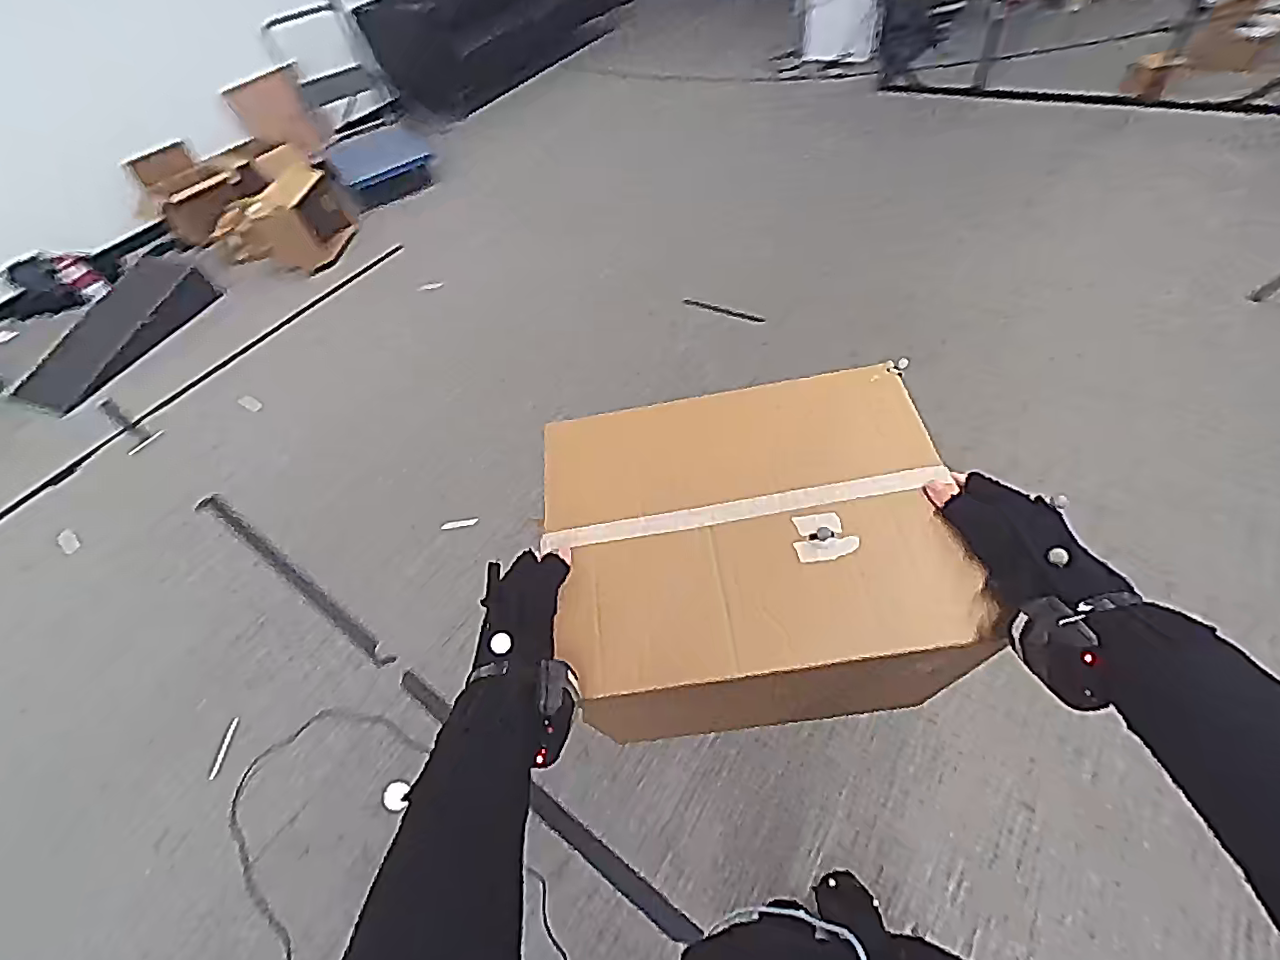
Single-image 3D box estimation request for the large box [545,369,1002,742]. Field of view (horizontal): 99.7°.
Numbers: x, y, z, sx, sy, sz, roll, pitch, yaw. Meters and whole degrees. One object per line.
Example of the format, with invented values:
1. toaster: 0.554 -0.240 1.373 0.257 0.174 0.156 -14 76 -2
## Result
1. large box: 0.120 0.112 0.679 0.408 0.320 0.320 -10 58 2
